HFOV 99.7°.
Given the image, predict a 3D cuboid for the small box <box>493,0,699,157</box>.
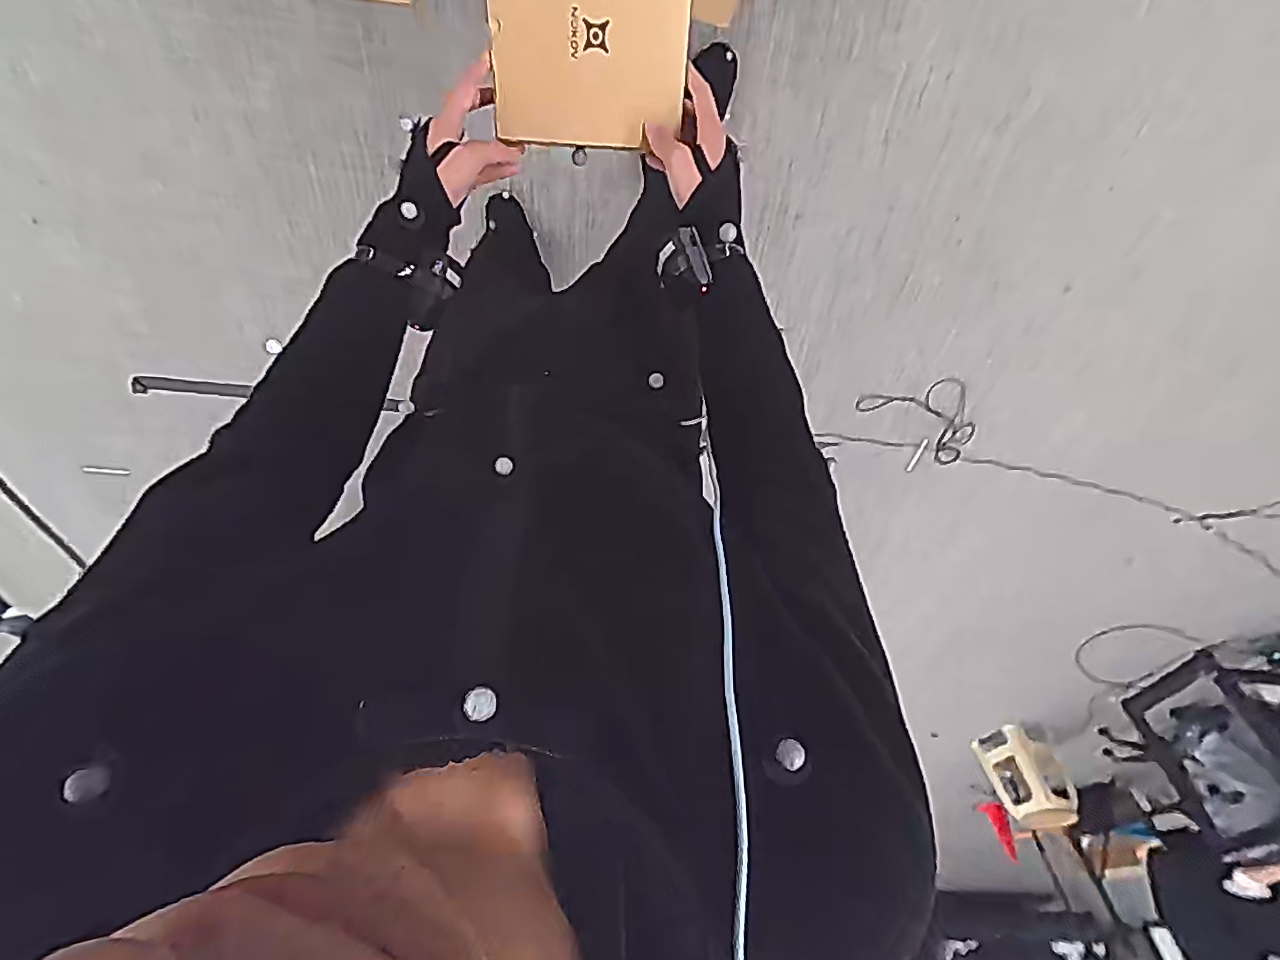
[{"bbox_3d":[-0.048,-0.423,0.533,0.179,0.176,0.168,-1,122,-8],"label":"small box"}]
